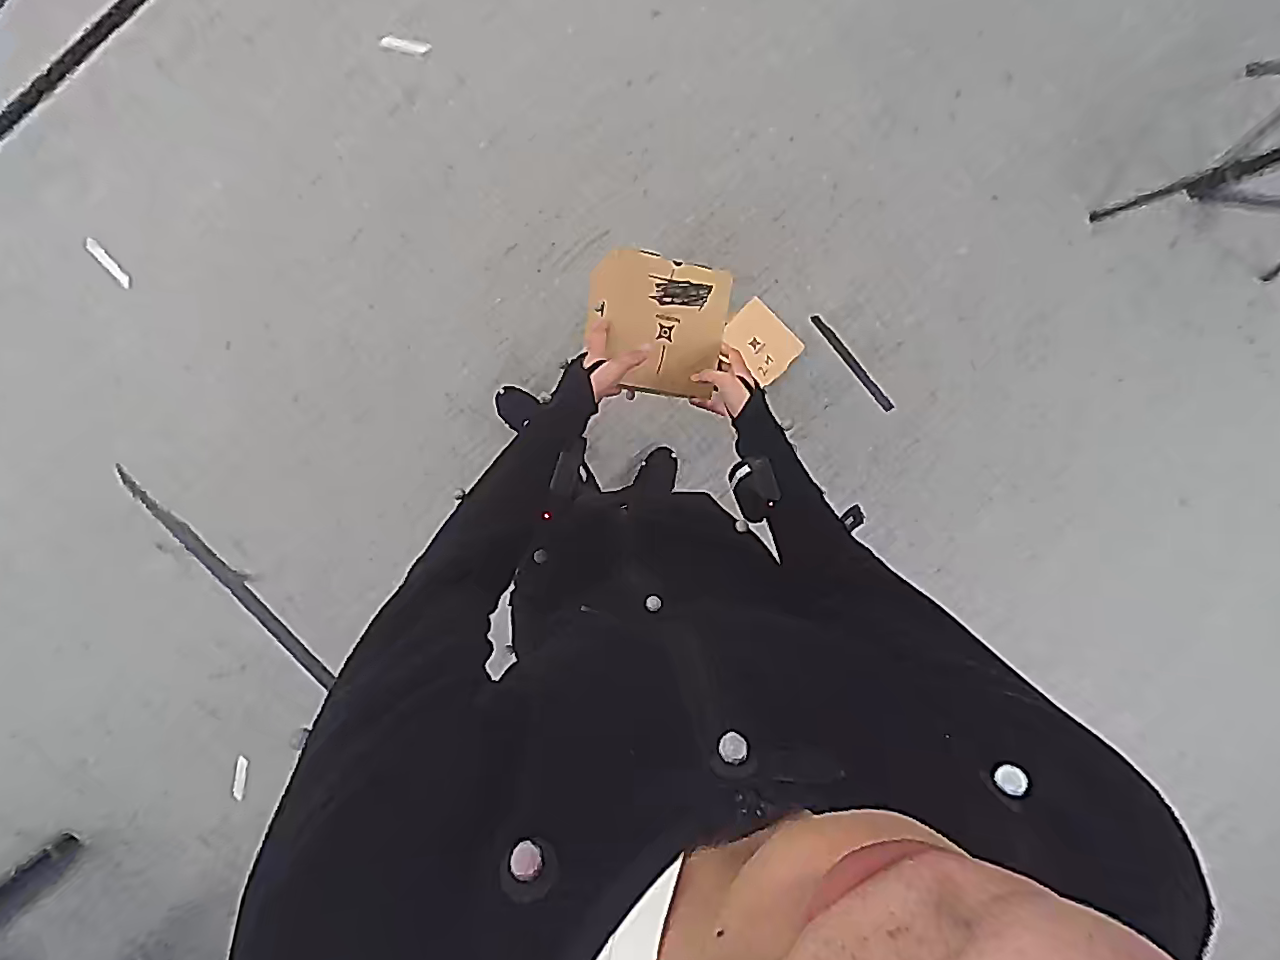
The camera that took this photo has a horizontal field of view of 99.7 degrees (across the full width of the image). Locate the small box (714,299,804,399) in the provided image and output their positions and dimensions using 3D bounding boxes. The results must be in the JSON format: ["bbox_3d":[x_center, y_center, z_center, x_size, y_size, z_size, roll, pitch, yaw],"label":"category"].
[{"bbox_3d":[0.272,-0.317,1.360,0.179,0.176,0.168,45,92,-5],"label":"small box"}]

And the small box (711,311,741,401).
[{"bbox_3d":[0.254,-0.341,1.522,0.179,0.176,0.168,-44,96,3],"label":"small box"}]

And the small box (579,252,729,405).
[{"bbox_3d":[0.010,-0.212,0.801,0.168,0.176,0.179,7,98,-17],"label":"small box"}]
